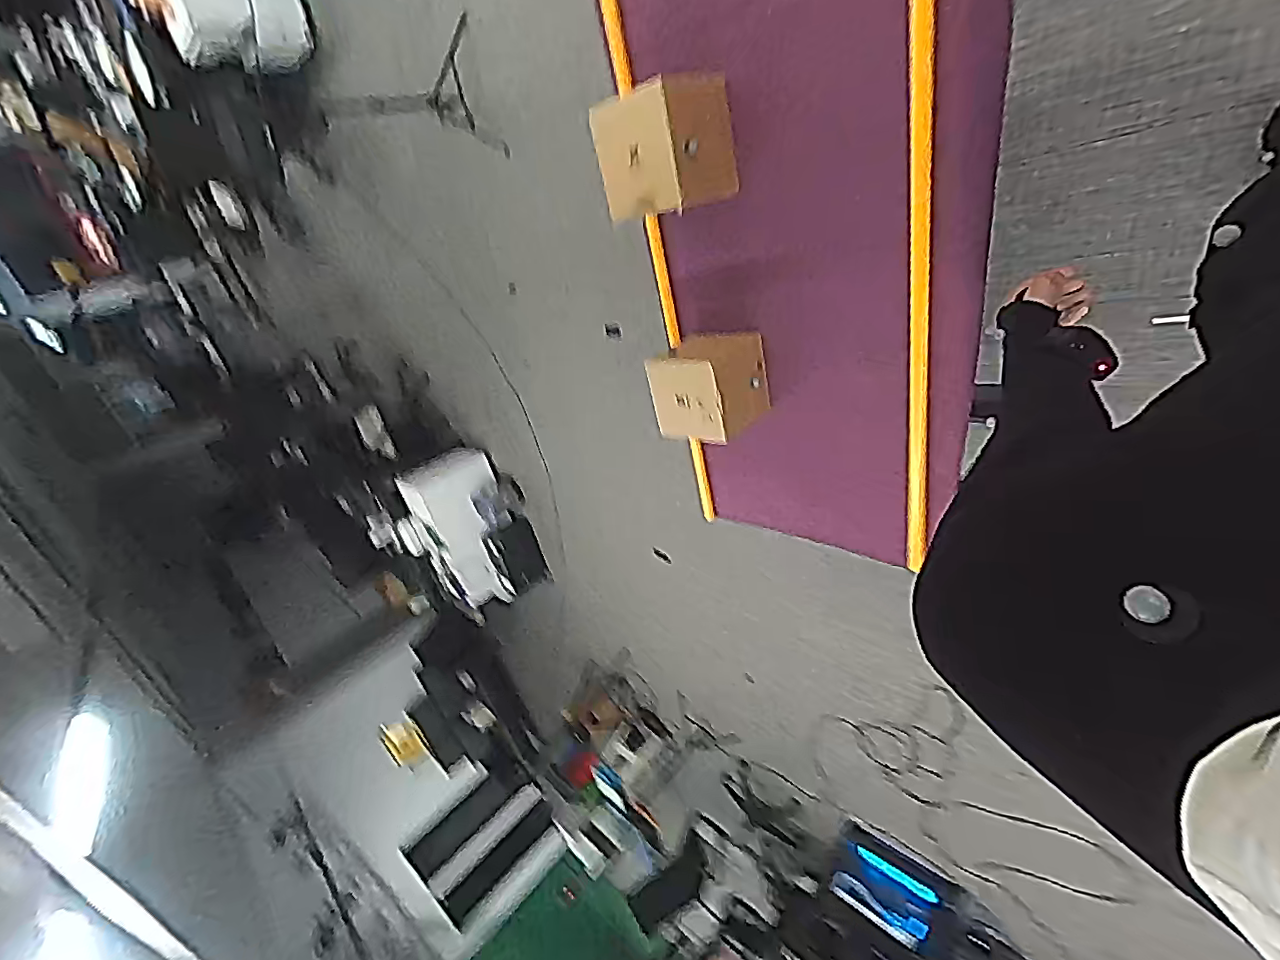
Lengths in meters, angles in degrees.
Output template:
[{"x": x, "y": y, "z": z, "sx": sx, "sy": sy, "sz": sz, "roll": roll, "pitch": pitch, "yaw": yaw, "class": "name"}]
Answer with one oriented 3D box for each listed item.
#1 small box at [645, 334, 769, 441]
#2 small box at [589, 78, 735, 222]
[{"x": 0.142, "y": -0.197, "z": 1.116, "sx": 0.179, "sy": 0.176, "sz": 0.168, "roll": 12, "pitch": 127, "yaw": 43, "class": "small box"}, {"x": 0.044, "y": -0.566, "z": 0.935, "sx": 0.168, "sy": 0.176, "sz": 0.179, "roll": 12, "pitch": 127, "yaw": 44, "class": "small box"}]
